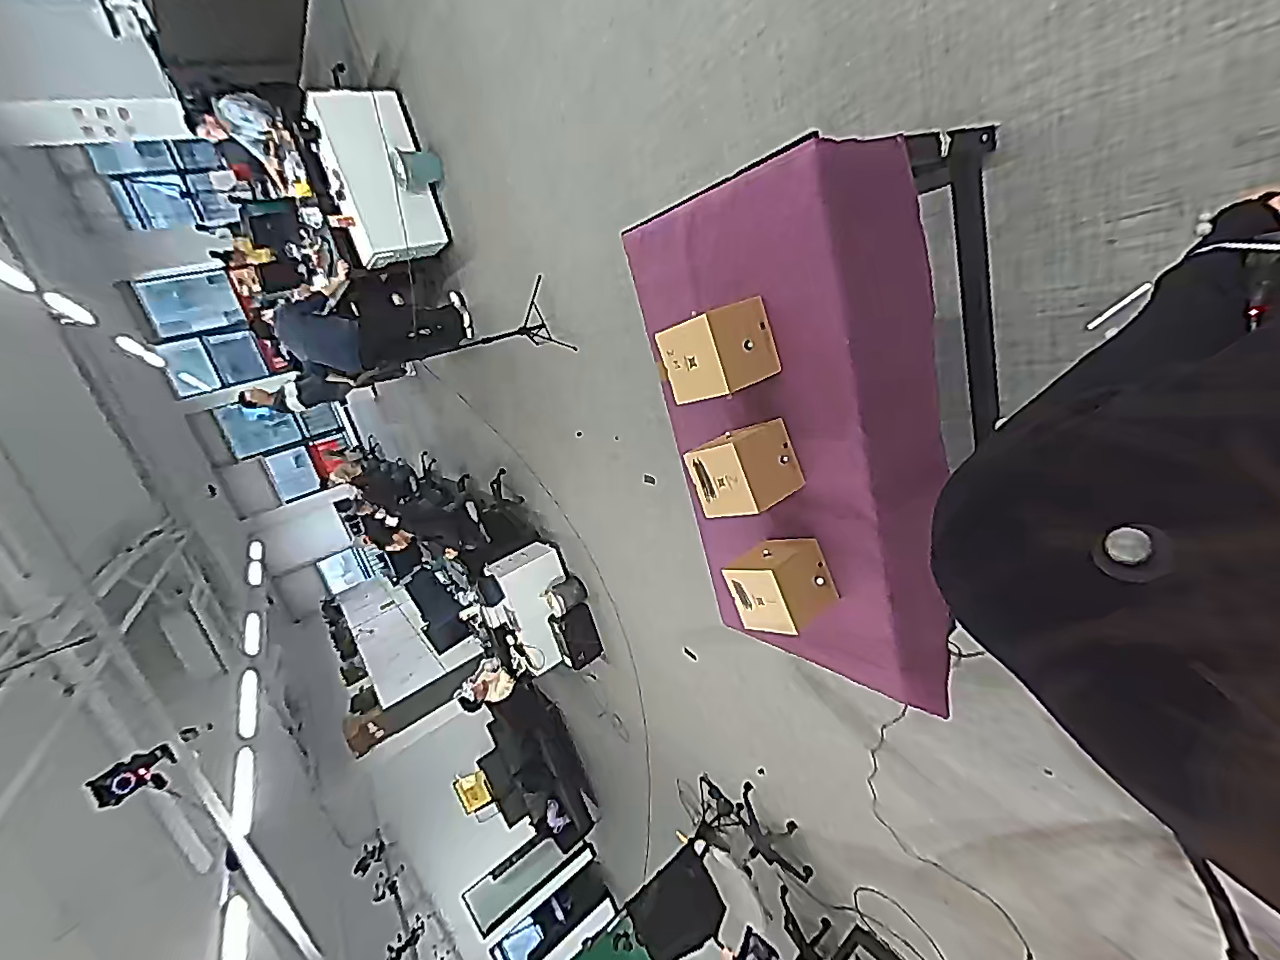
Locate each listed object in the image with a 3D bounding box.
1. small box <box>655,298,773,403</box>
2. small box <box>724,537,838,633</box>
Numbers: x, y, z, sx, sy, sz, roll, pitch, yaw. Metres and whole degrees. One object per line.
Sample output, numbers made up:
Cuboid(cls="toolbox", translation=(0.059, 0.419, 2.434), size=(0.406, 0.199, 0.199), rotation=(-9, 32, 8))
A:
Cuboid(cls="small box", translation=(0.168, -0.281, 1.176), size=(0.179, 0.176, 0.168), rotation=(0, 112, 58))
Cuboid(cls="small box", translation=(0.342, 0.248, 1.314), size=(0.179, 0.176, 0.168), rotation=(-15, 101, 59))
